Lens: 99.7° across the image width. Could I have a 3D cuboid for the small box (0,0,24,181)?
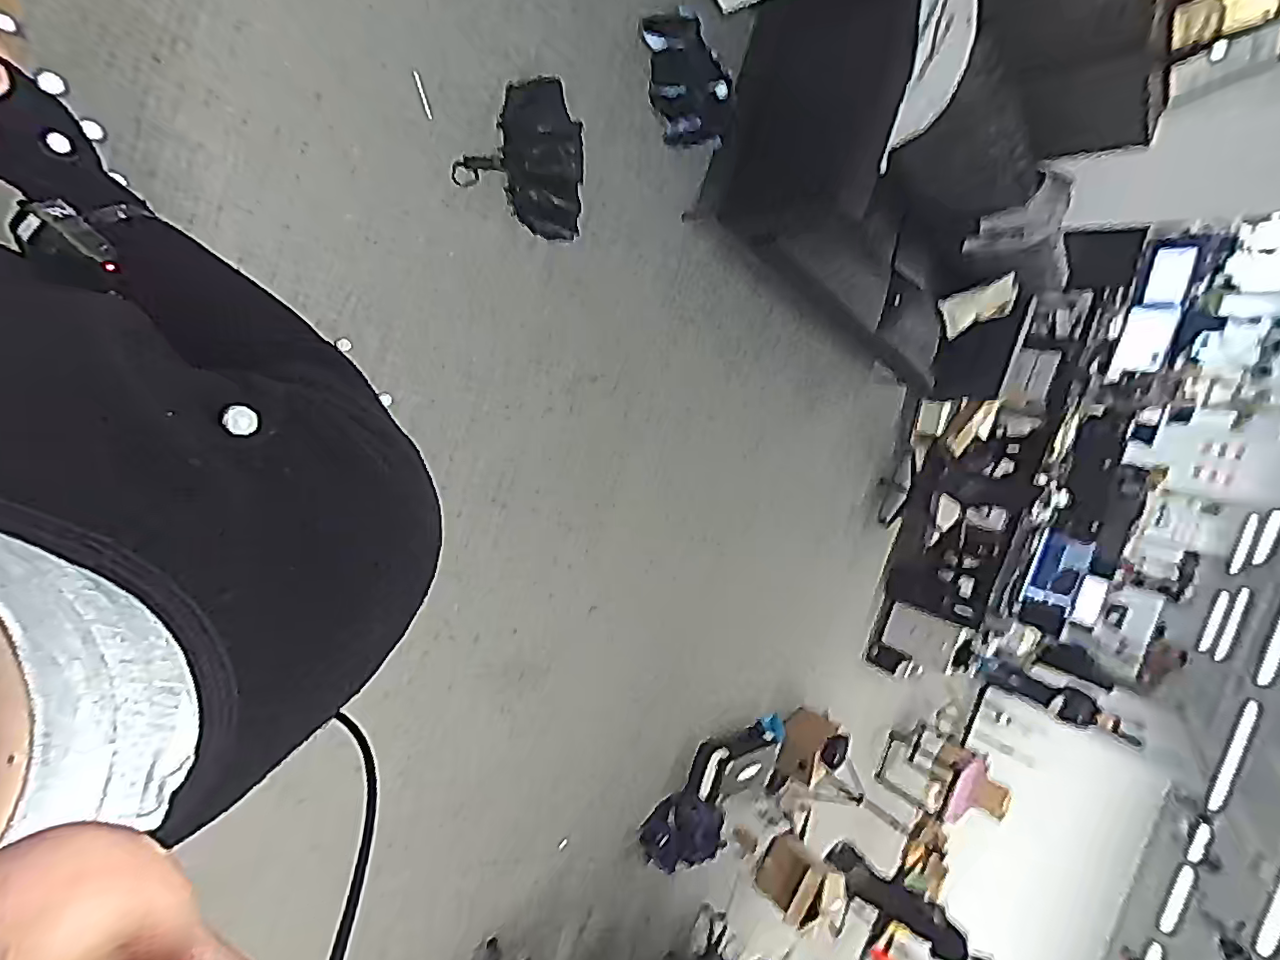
[{"bbox_3d":[-0.616,-0.370,0.417,0.168,0.176,0.179,-4,89,-42],"label":"small box"}]
